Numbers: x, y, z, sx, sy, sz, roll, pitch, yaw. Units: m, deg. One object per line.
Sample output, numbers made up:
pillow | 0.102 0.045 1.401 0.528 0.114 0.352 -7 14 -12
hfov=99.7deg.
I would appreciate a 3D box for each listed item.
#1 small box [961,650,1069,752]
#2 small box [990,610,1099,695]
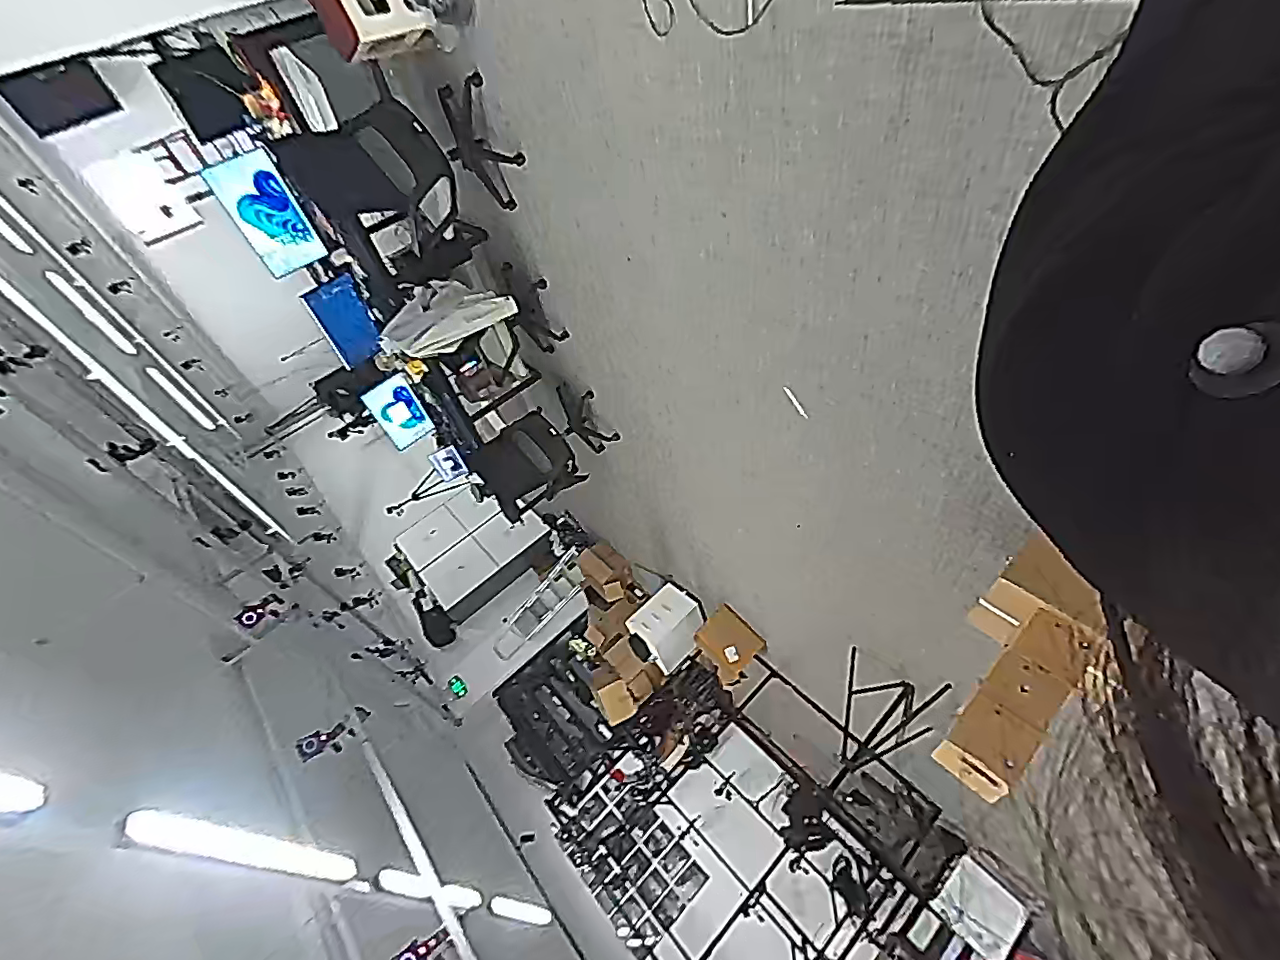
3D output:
small box | 1.033 0.604 1.489 0.168 0.176 0.179 38 155 33
small box | 1.151 0.502 1.537 0.168 0.176 0.179 39 157 30
